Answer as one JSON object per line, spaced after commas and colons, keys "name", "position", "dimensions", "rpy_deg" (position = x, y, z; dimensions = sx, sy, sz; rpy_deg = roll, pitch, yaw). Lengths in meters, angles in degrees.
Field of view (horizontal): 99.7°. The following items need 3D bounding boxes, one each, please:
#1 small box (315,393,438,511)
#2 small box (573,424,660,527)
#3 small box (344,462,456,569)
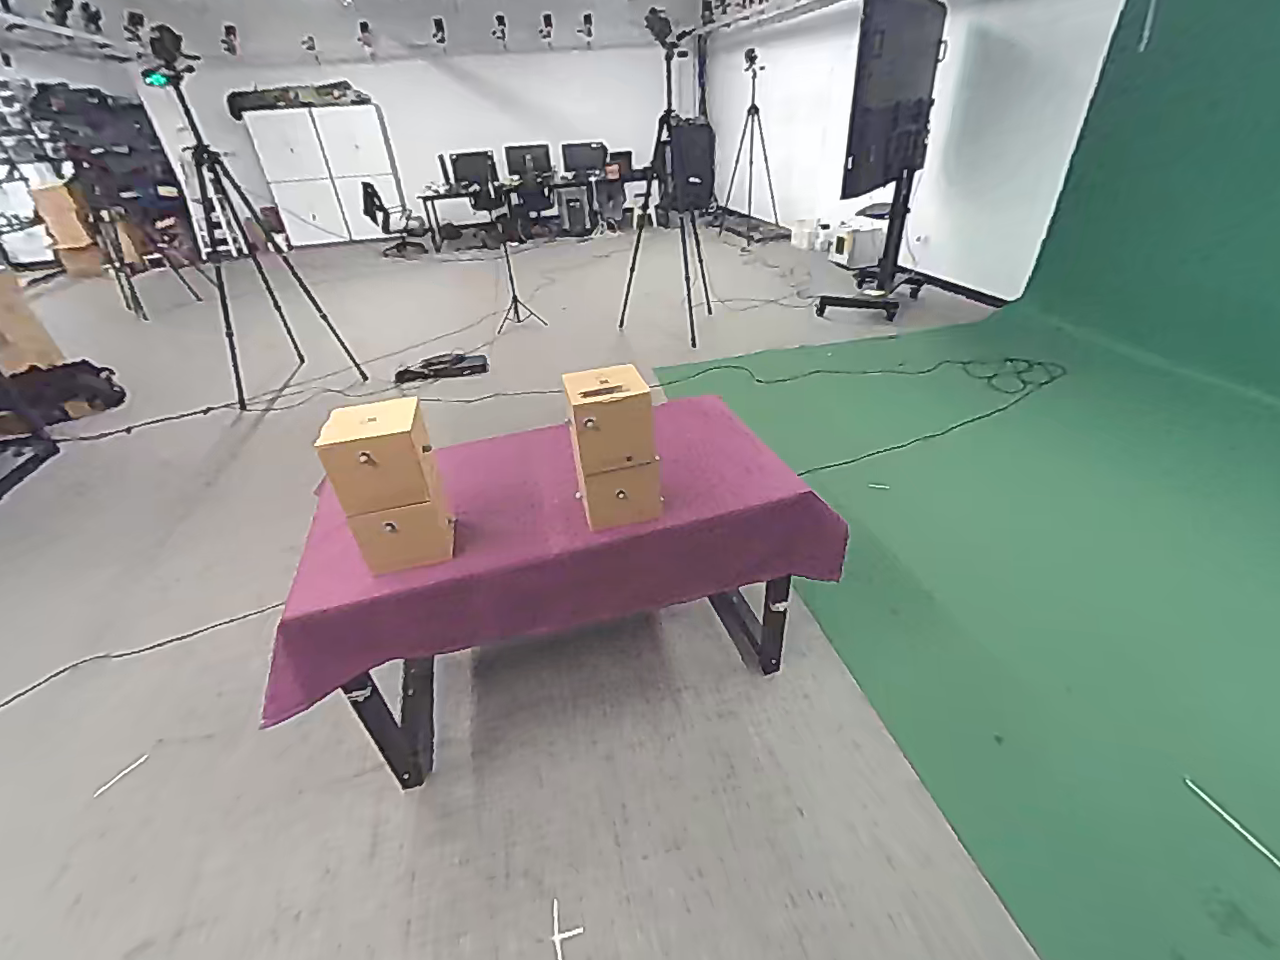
{"name": "small box", "position": [-0.531, -0.058, 1.121], "dimensions": [0.179, 0.176, 0.168], "rpy_deg": [-12, 35, -9]}
{"name": "small box", "position": [-0.054, -0.011, 1.291], "dimensions": [0.179, 0.176, 0.168], "rpy_deg": [-12, 35, -9]}
{"name": "small box", "position": [-0.526, 0.078, 1.211], "dimensions": [0.179, 0.176, 0.168], "rpy_deg": [-10, 35, -10]}
